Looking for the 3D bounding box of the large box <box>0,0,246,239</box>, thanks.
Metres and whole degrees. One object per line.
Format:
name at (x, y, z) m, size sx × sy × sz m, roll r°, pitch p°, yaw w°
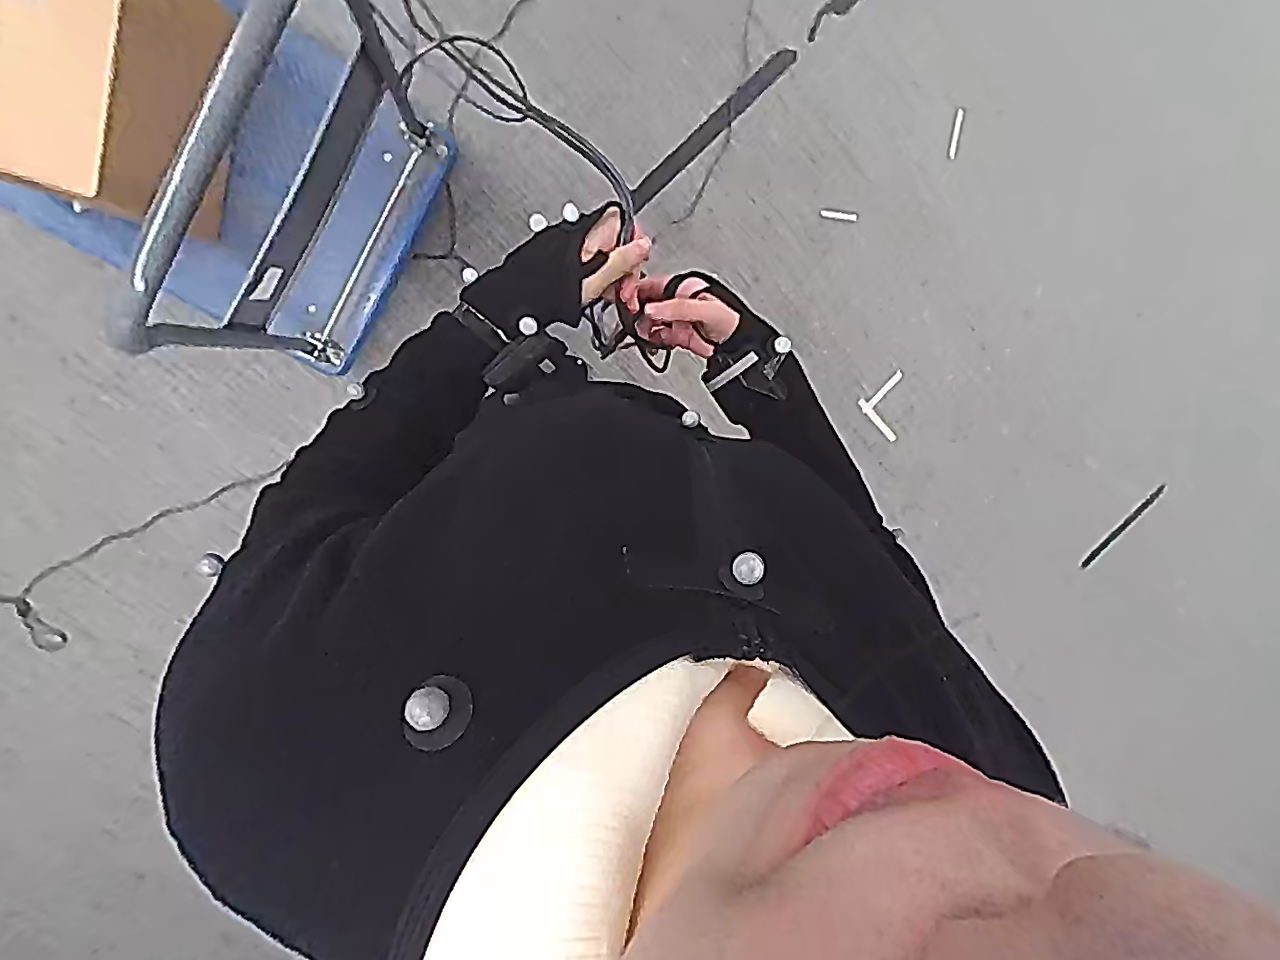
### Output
large box at (-0.918, -0.673, 0.885) m, size 0.320 × 0.320 × 0.408 m, roll 14°, pitch 98°, yaw -13°
